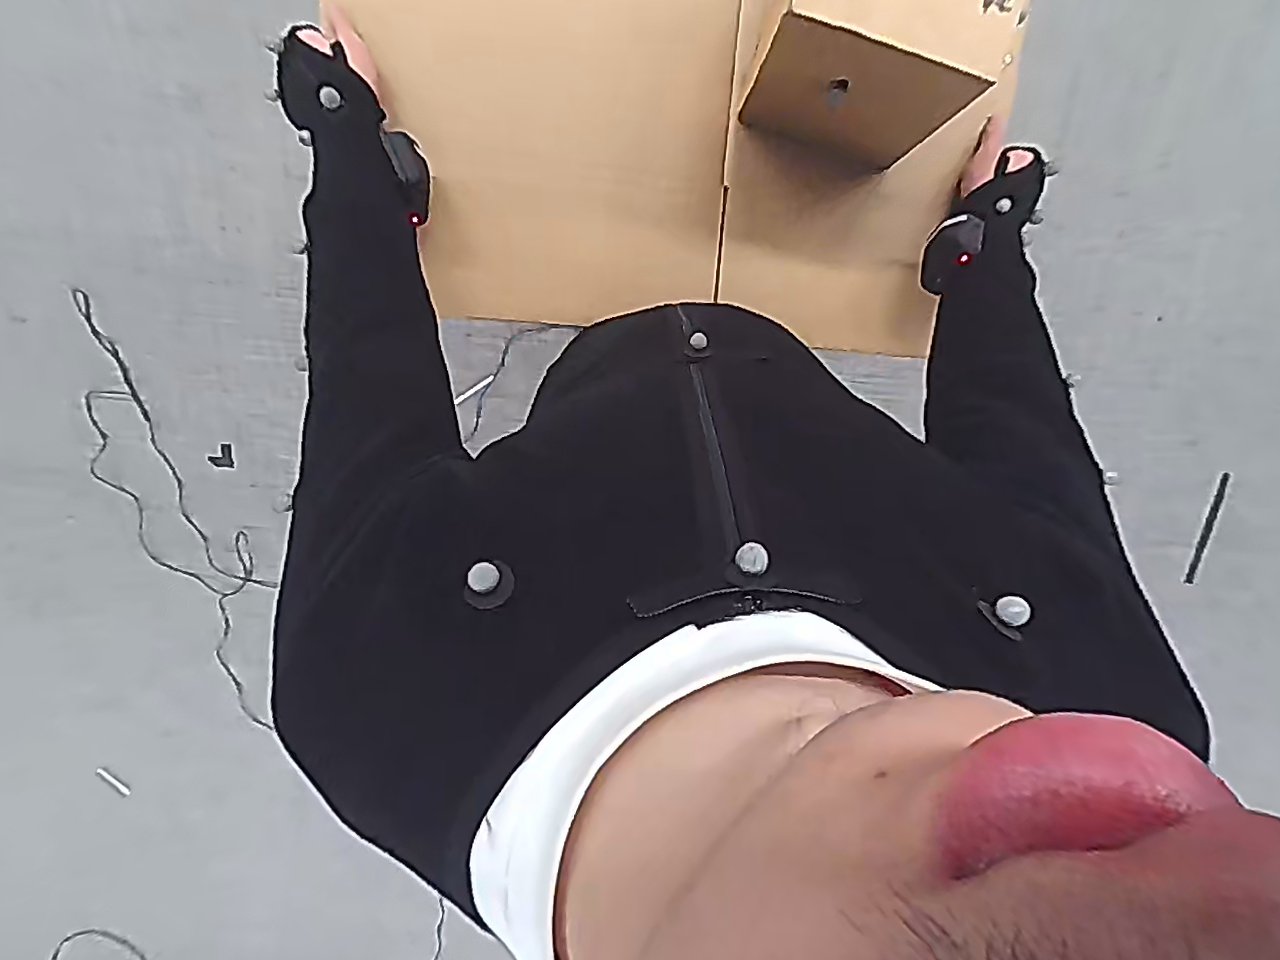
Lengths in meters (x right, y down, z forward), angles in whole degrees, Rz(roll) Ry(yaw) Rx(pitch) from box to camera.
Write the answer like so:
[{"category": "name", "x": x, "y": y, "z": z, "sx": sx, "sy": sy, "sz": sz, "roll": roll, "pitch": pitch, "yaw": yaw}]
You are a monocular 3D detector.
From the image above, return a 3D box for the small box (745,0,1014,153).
[{"category": "small box", "x": 0.208, "y": -0.427, "z": 0.483, "sx": 0.179, "sy": 0.176, "sz": 0.168, "roll": 14, "pitch": 100, "yaw": -4}]
